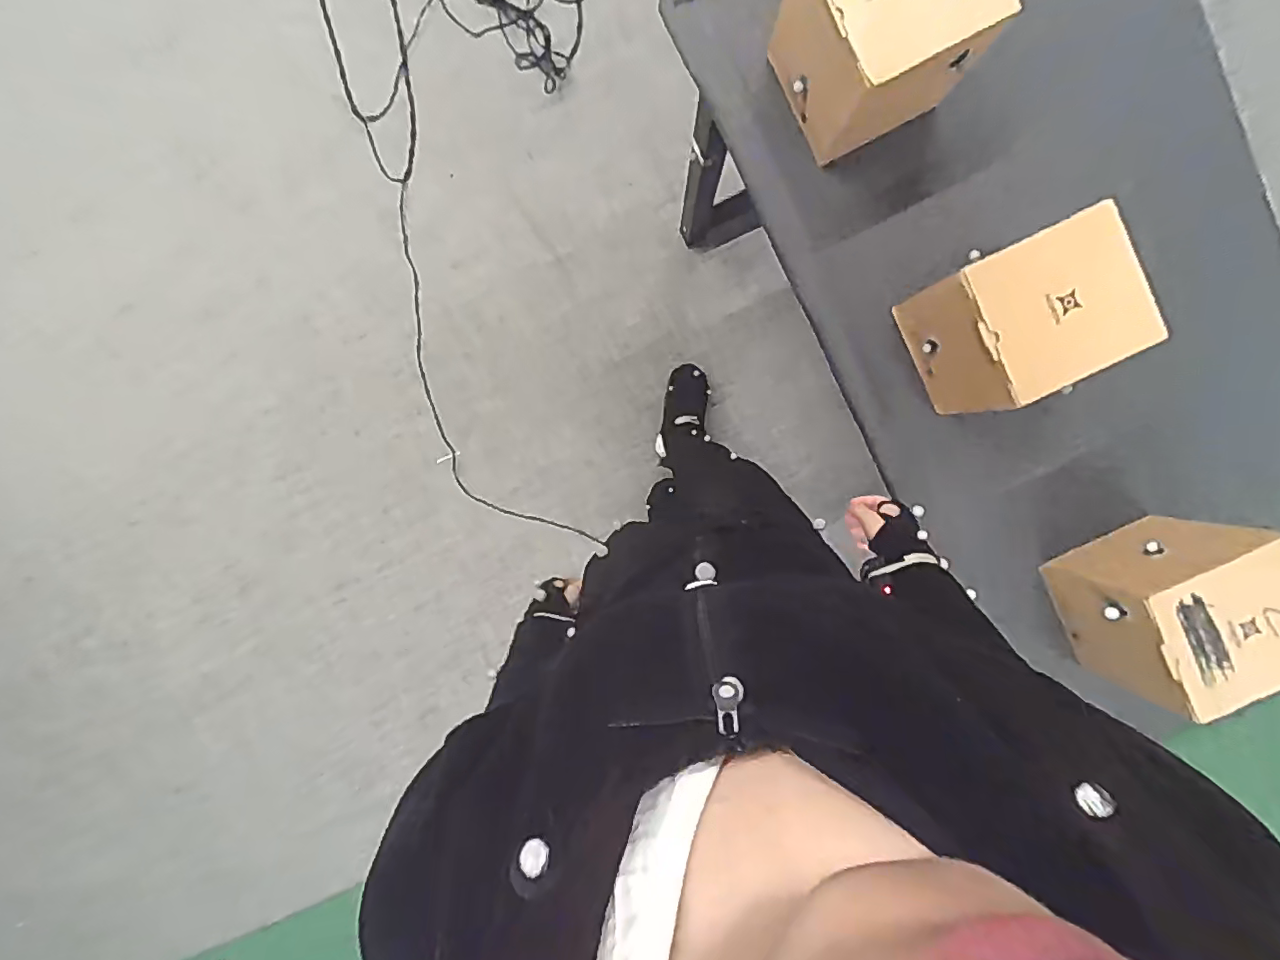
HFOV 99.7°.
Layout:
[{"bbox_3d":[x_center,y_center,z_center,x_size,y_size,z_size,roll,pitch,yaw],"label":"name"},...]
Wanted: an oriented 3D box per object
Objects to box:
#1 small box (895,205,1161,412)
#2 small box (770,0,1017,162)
[{"bbox_3d":[0.456,-0.194,0.664,0.179,0.176,0.168,-26,94,2],"label":"small box"},{"bbox_3d":[0.280,-0.523,0.635,0.179,0.176,0.168,-27,94,2],"label":"small box"}]
